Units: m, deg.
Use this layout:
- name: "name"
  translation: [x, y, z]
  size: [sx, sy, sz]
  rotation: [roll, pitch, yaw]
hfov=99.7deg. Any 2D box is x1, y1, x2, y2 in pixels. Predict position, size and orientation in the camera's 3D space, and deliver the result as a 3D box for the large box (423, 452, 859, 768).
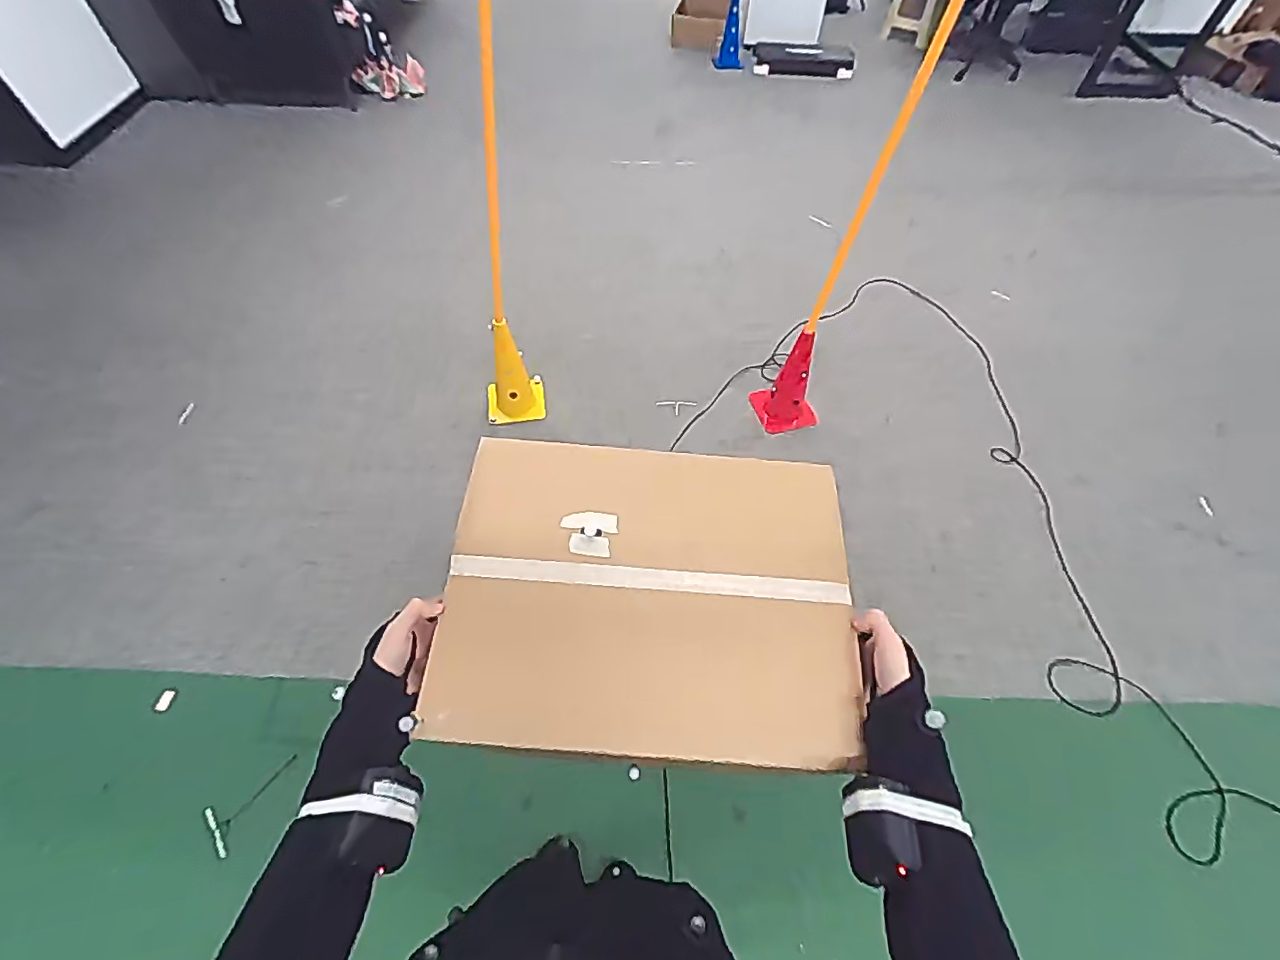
- name: "large box"
  translation: [0.006, 0.182, 0.687]
  size: [0.408, 0.320, 0.320]
  rotation: [4, 60, 0]
